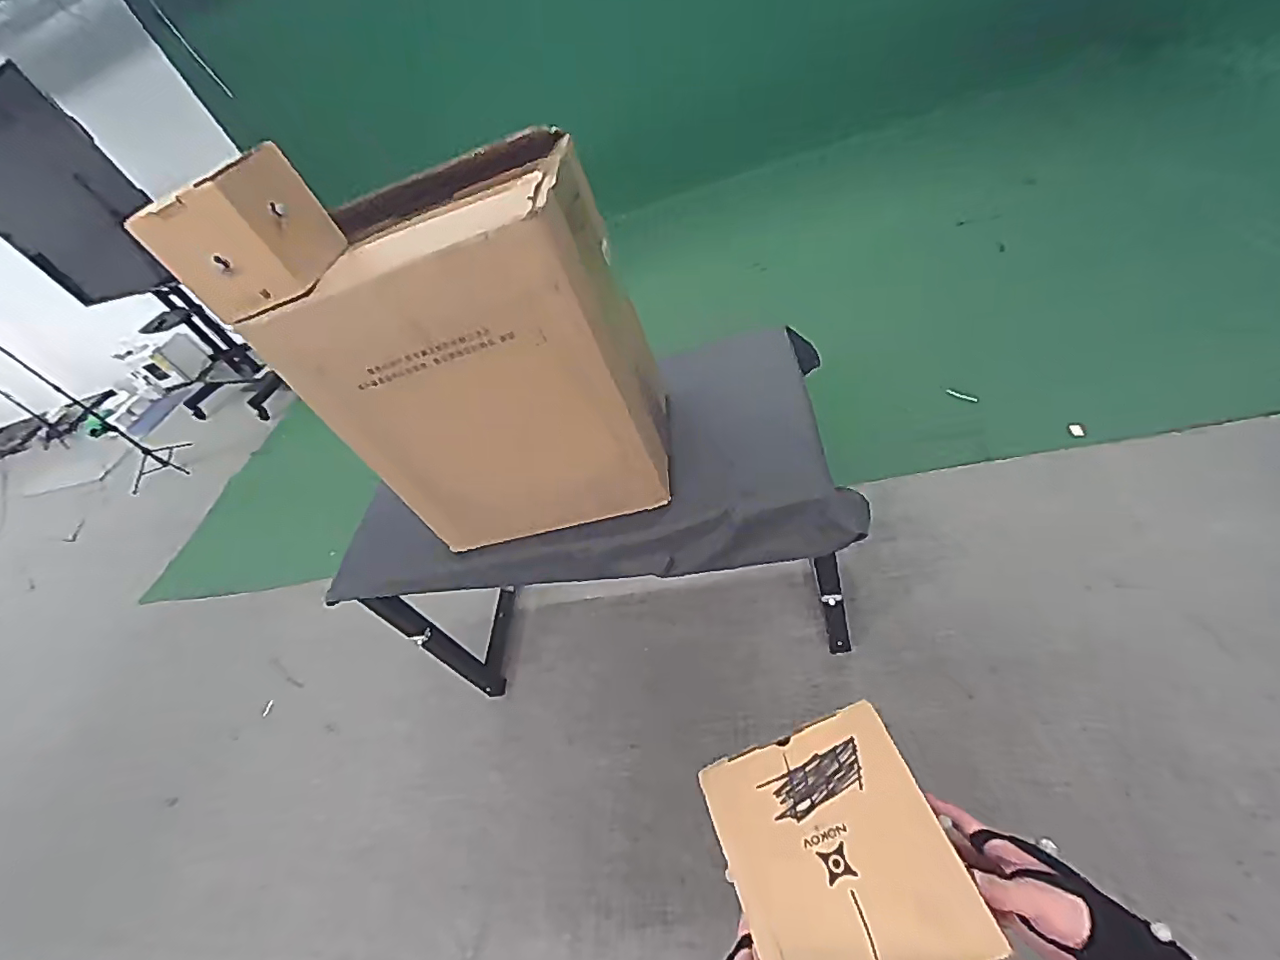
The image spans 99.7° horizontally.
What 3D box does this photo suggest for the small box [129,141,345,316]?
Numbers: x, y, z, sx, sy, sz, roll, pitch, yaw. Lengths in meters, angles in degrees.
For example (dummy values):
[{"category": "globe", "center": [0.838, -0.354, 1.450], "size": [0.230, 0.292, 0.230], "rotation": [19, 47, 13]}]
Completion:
[{"category": "small box", "center": [-0.597, -0.374, 0.831], "size": [0.168, 0.176, 0.179], "rotation": [-14, 46, 15]}]
